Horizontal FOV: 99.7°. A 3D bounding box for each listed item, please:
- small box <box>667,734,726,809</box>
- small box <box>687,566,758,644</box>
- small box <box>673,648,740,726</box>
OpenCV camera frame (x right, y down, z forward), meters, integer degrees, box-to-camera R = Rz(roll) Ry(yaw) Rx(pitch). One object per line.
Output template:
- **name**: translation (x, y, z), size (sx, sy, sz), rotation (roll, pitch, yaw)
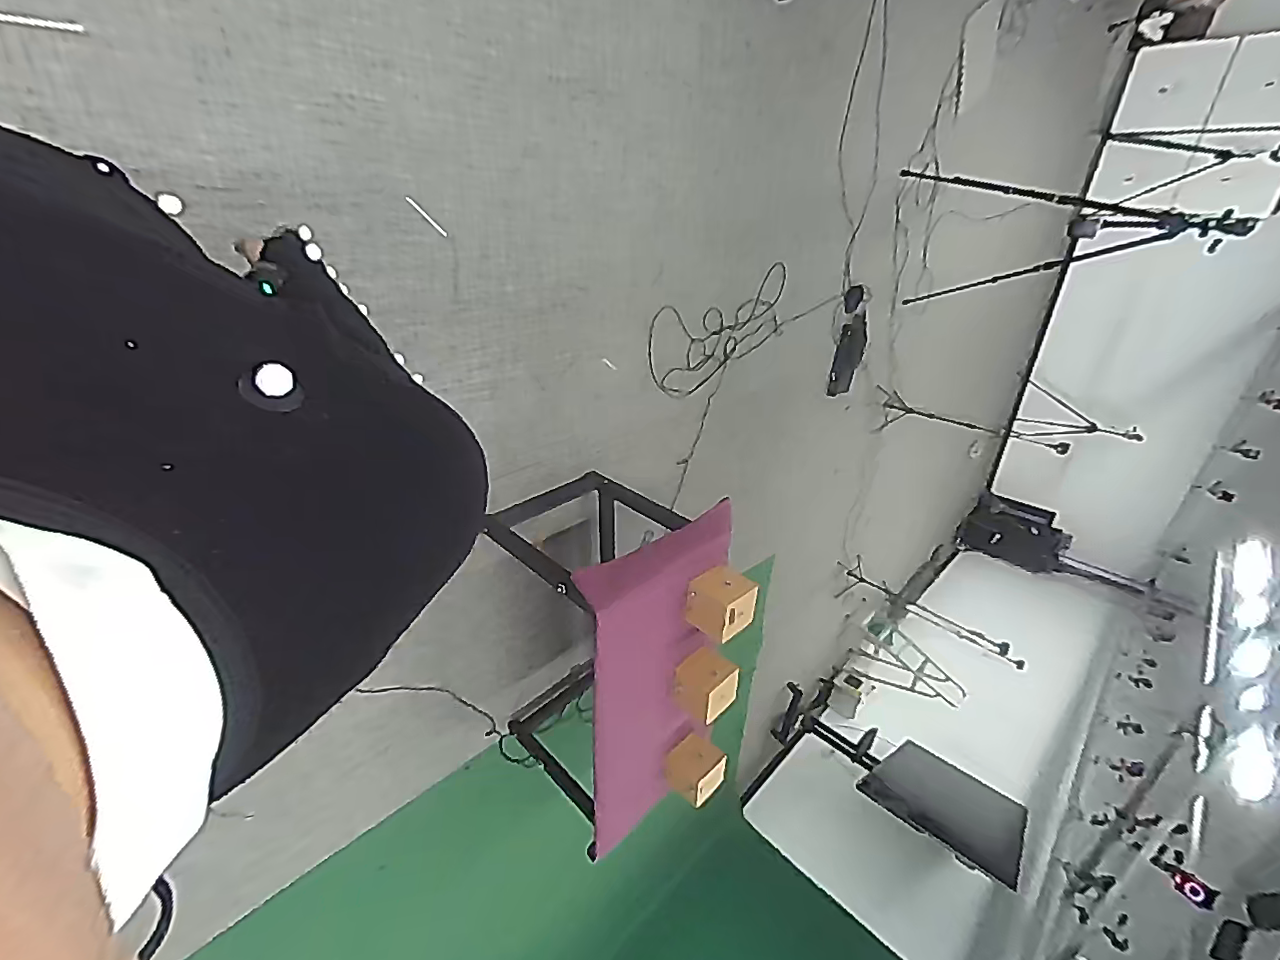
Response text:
- **small box**: translation (0.231, 1.188, 2.220), size (0.179, 0.176, 0.168), rotation (-25, 126, -39)
- **small box**: translation (0.281, 0.426, 1.868), size (0.179, 0.176, 0.168), rotation (-20, 125, -40)
- **small box**: translation (0.246, 0.763, 2.015), size (0.179, 0.176, 0.168), rotation (-23, 125, -39)
